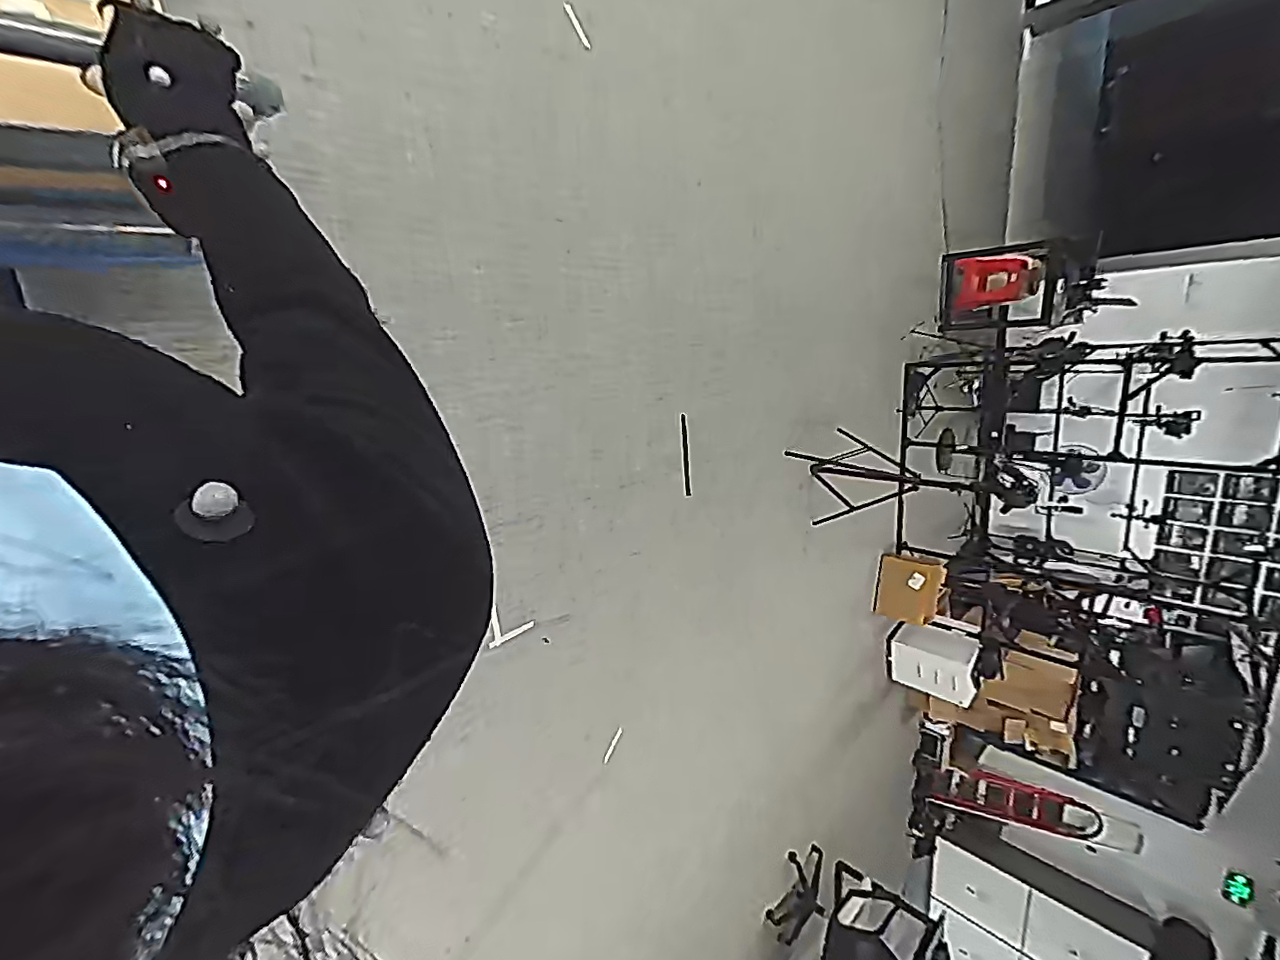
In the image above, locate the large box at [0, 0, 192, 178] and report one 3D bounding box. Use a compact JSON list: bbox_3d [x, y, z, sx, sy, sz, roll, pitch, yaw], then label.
[{"bbox_3d":[-0.903,-0.605,0.698,0.408,0.320,0.320,-25,115,-42],"label":"large box"}]
